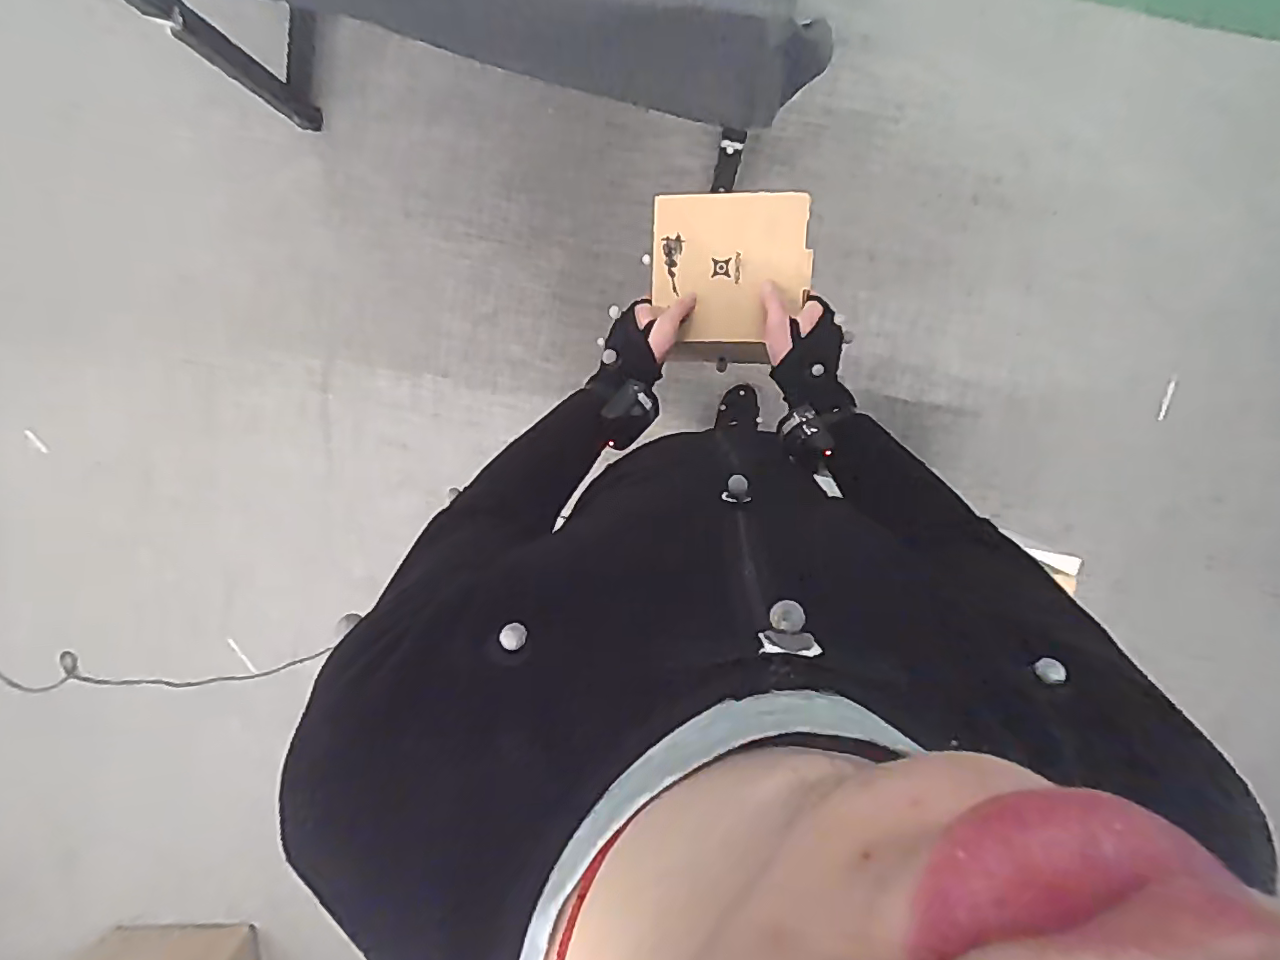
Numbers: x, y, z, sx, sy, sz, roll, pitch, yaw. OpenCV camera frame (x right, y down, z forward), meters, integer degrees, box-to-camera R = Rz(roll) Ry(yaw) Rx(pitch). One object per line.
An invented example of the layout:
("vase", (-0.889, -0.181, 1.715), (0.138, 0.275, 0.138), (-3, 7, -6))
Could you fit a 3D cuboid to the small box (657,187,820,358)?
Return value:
("small box", (0.114, -0.249, 0.684), (0.179, 0.176, 0.168), (2, 95, 4))
